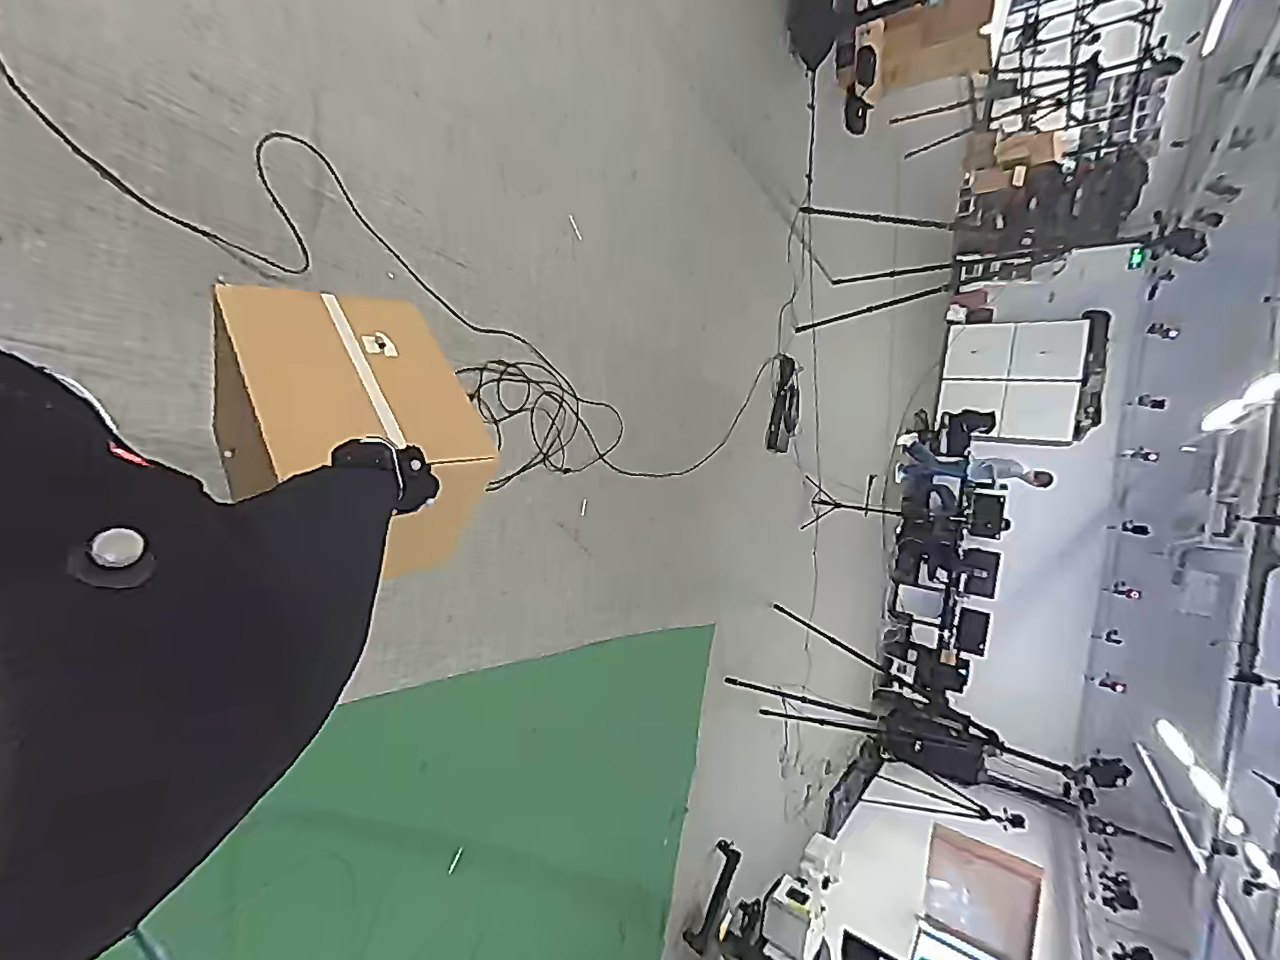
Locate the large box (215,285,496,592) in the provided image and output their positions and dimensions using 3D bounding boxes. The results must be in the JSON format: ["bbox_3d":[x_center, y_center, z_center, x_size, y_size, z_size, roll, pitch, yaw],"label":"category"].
[{"bbox_3d":[-0.516,-0.079,0.954,0.320,0.408,0.320,-9,144,-45],"label":"large box"}]
